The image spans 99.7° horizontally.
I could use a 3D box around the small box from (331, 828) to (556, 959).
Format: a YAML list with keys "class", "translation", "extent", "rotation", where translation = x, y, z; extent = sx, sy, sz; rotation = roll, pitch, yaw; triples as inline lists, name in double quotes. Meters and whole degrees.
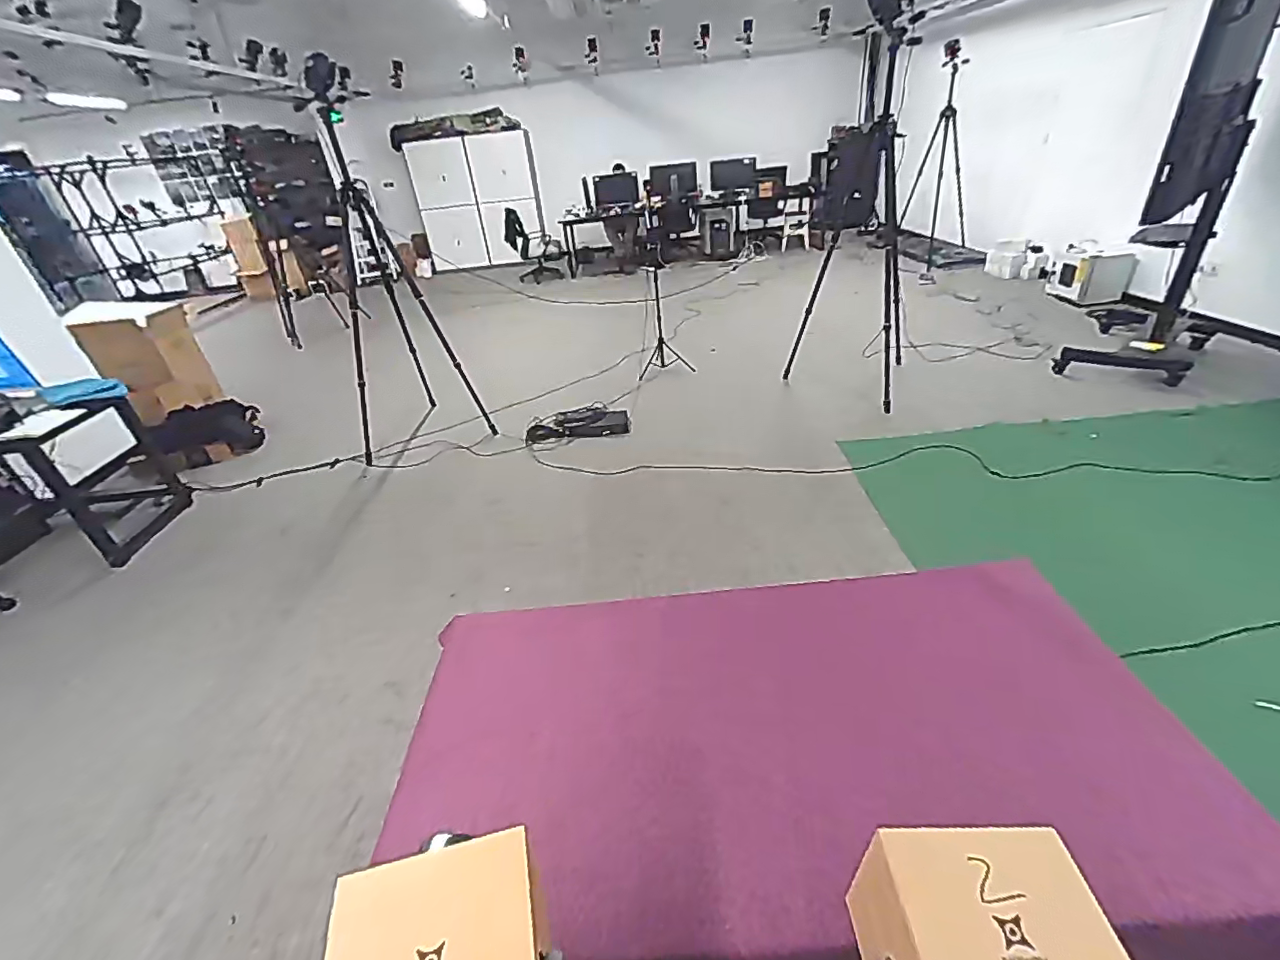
- class: "small box"
  translation: [-0.161, 0.449, 0.470]
  extent: [0.168, 0.176, 0.179]
  rotation: [-9, 37, -11]
